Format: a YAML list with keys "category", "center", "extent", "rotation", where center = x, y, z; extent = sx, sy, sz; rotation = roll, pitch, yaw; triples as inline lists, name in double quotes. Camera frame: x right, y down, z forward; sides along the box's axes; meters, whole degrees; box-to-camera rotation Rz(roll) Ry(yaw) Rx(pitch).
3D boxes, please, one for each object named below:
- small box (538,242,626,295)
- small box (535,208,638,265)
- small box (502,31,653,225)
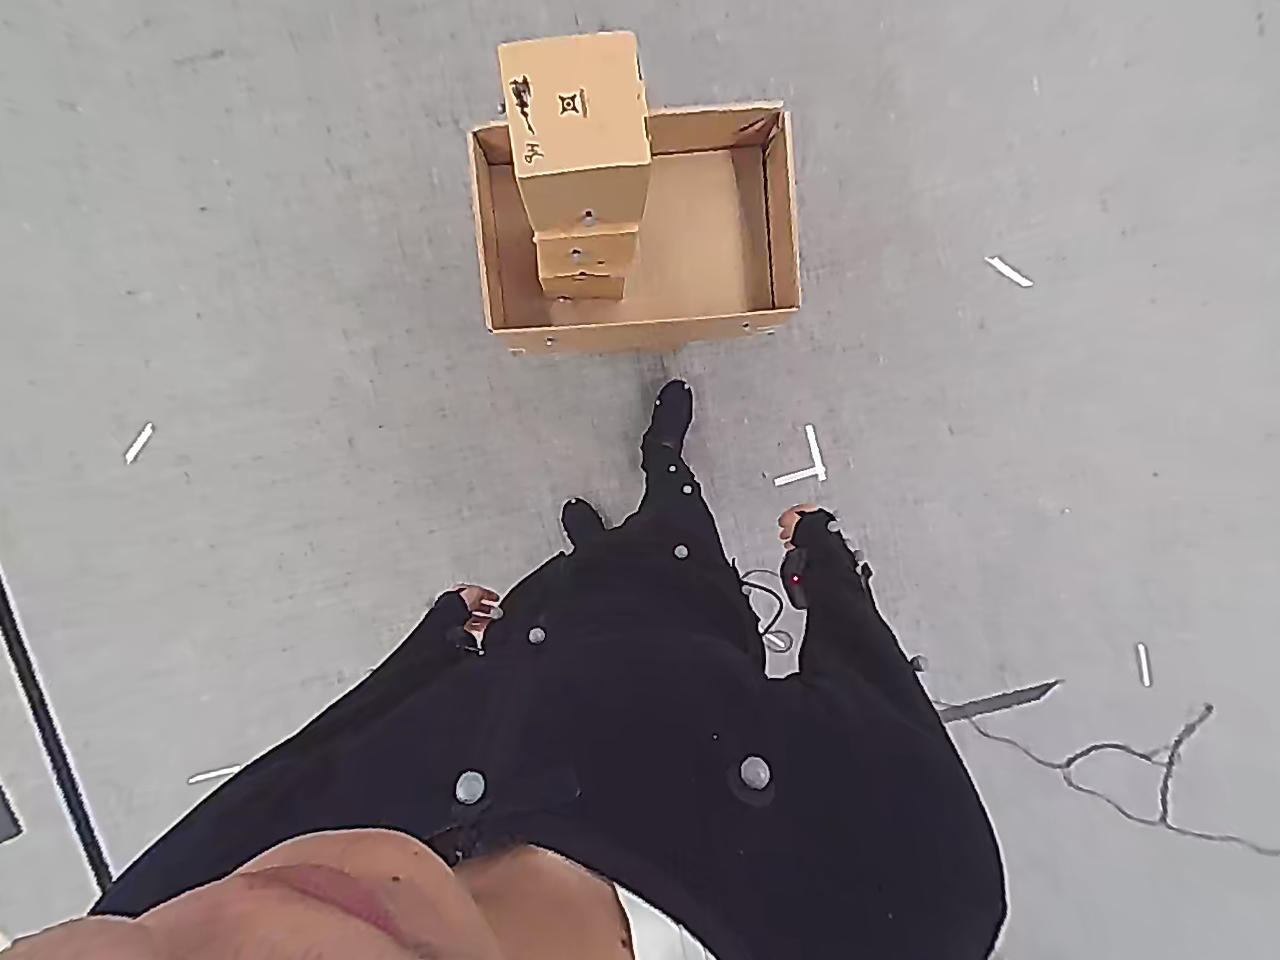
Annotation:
- category: "small box"
  center: [-0.113, -0.477, 1.082]
  extent: [0.168, 0.176, 0.179]
  rotation: [-2, 93, -4]
- category: "small box"
  center: [-0.093, -0.478, 0.920]
  extent: [0.168, 0.176, 0.179]
  rotation: [-6, 93, -4]
- category: "small box"
  center: [-0.084, -0.478, 0.756]
  extent: [0.179, 0.176, 0.168]
  rotation: [-7, 93, -4]
